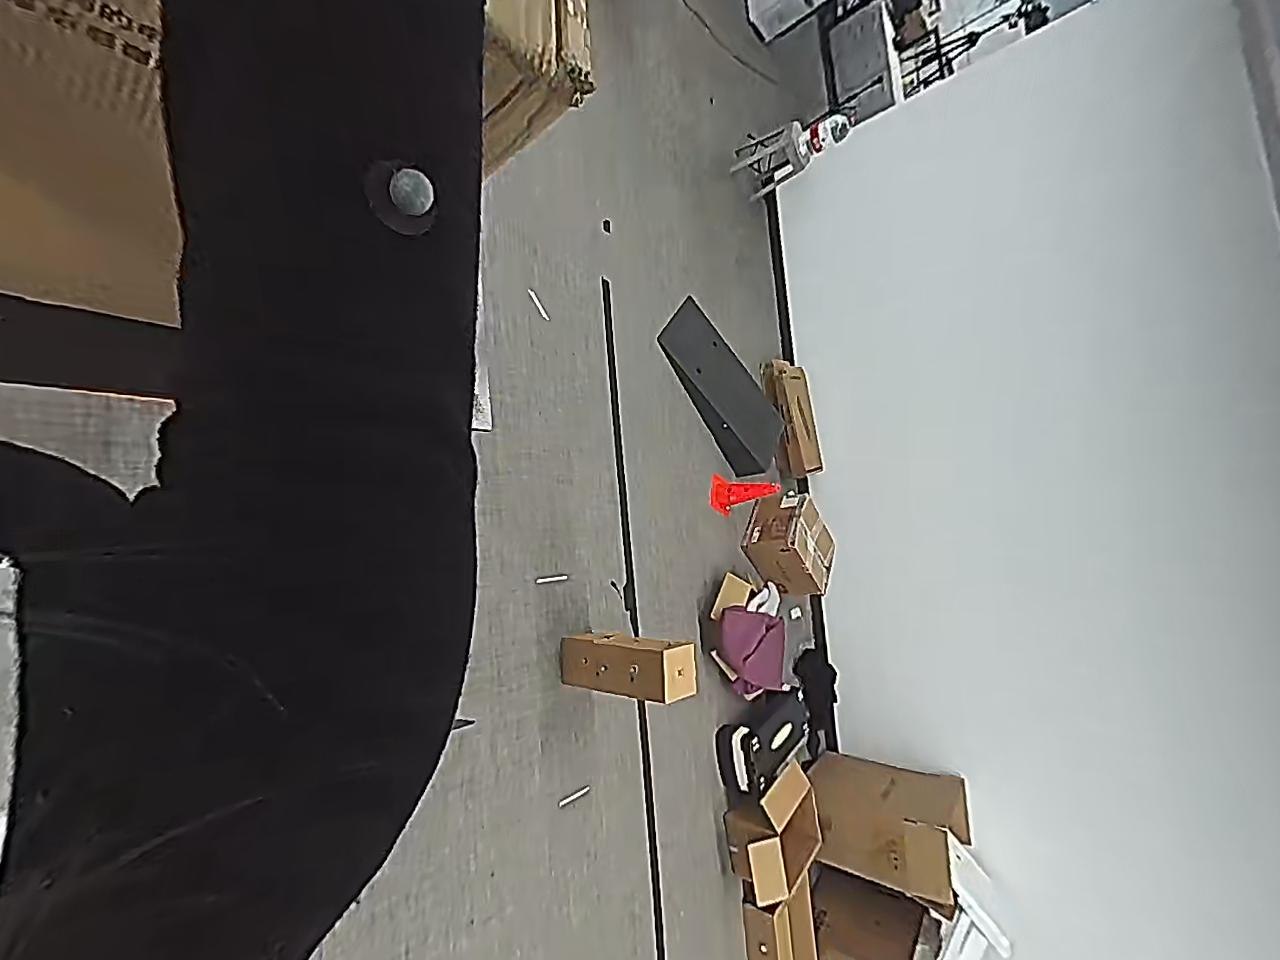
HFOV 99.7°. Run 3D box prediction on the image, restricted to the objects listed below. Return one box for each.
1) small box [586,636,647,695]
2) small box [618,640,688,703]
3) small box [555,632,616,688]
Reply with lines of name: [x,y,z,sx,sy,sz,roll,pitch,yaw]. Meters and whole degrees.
small box: [-0.074,0.658,1.937,0.179,0.176,0.168,8,77,-50]
small box: [0.043,0.639,1.825,0.179,0.176,0.168,8,77,-49]
small box: [-0.205,0.670,2.036,0.168,0.176,0.179,8,78,-50]
